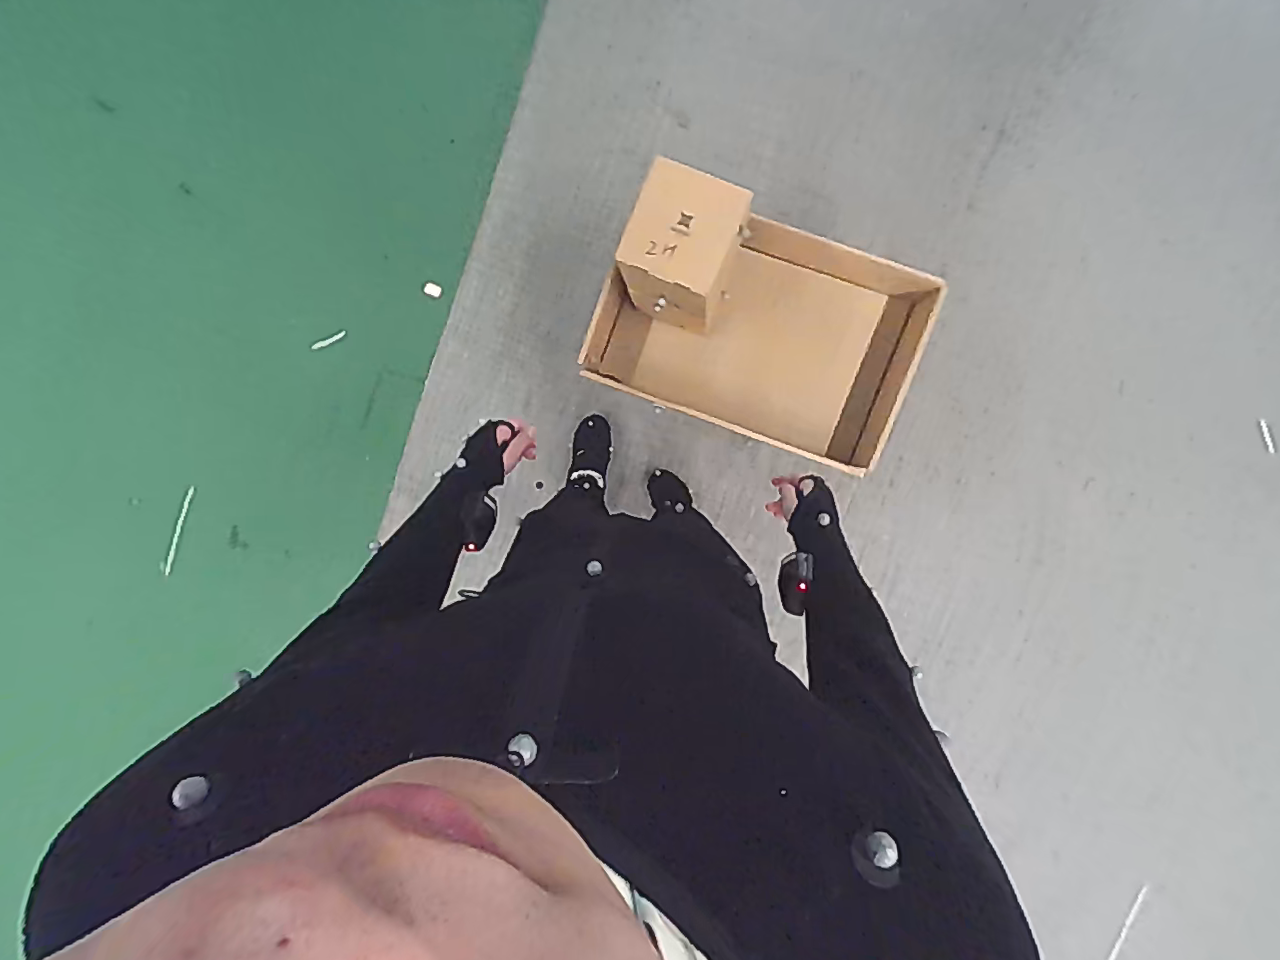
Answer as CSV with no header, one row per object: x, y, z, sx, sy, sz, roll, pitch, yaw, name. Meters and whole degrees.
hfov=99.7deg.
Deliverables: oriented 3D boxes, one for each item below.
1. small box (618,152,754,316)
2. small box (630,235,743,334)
0.077,-0.410,0.932,0.168,0.176,0.179,25,96,4,small box
0.092,-0.420,1.095,0.168,0.176,0.179,23,95,3,small box
